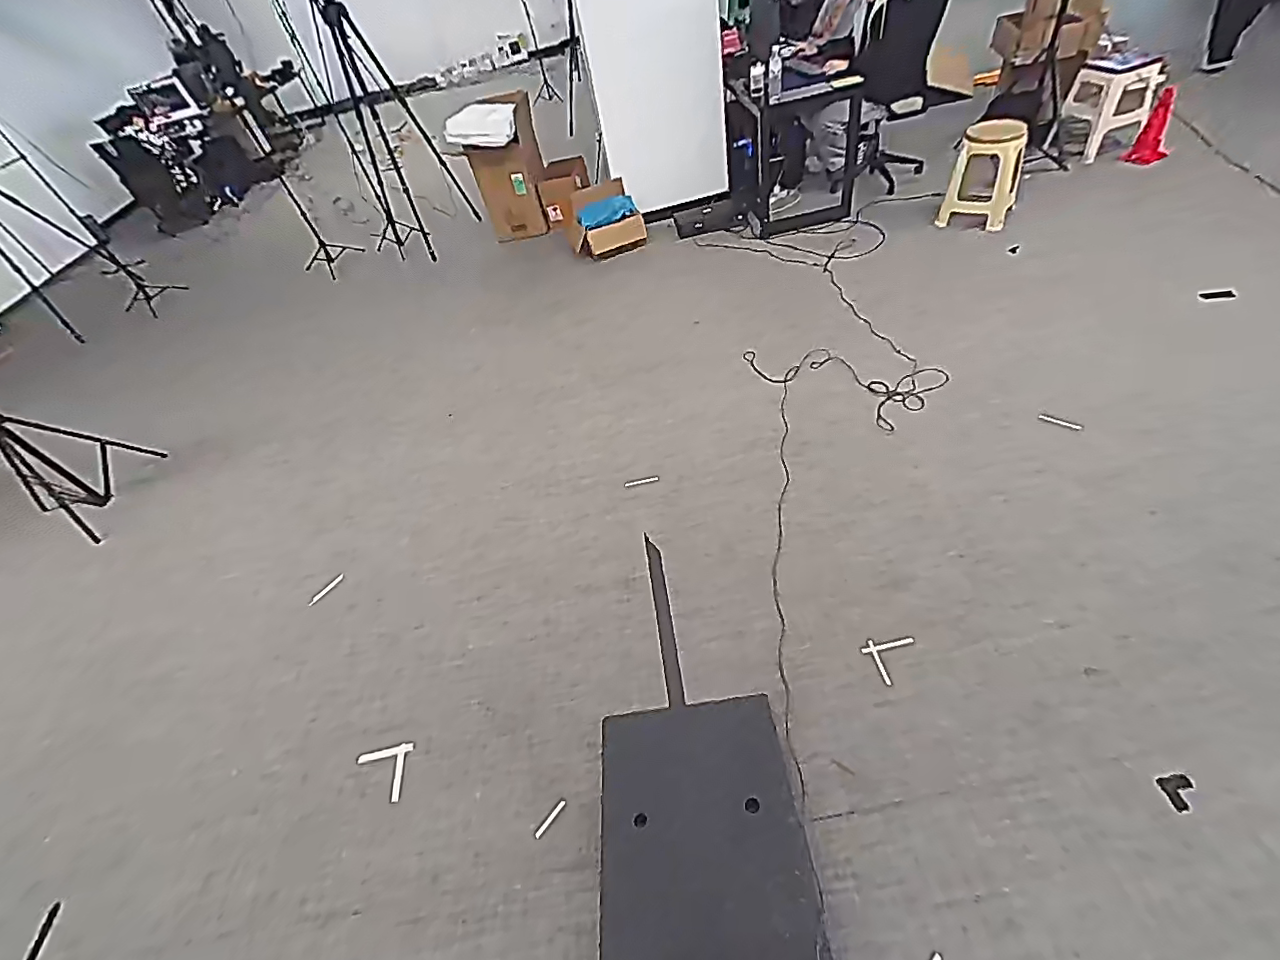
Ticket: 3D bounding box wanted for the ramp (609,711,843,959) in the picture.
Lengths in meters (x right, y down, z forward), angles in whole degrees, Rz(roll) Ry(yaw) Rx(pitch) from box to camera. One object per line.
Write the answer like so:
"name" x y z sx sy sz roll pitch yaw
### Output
"ramp" 0.173 0.997 1.170 0.509 0.206 0.991 -14 44 4
